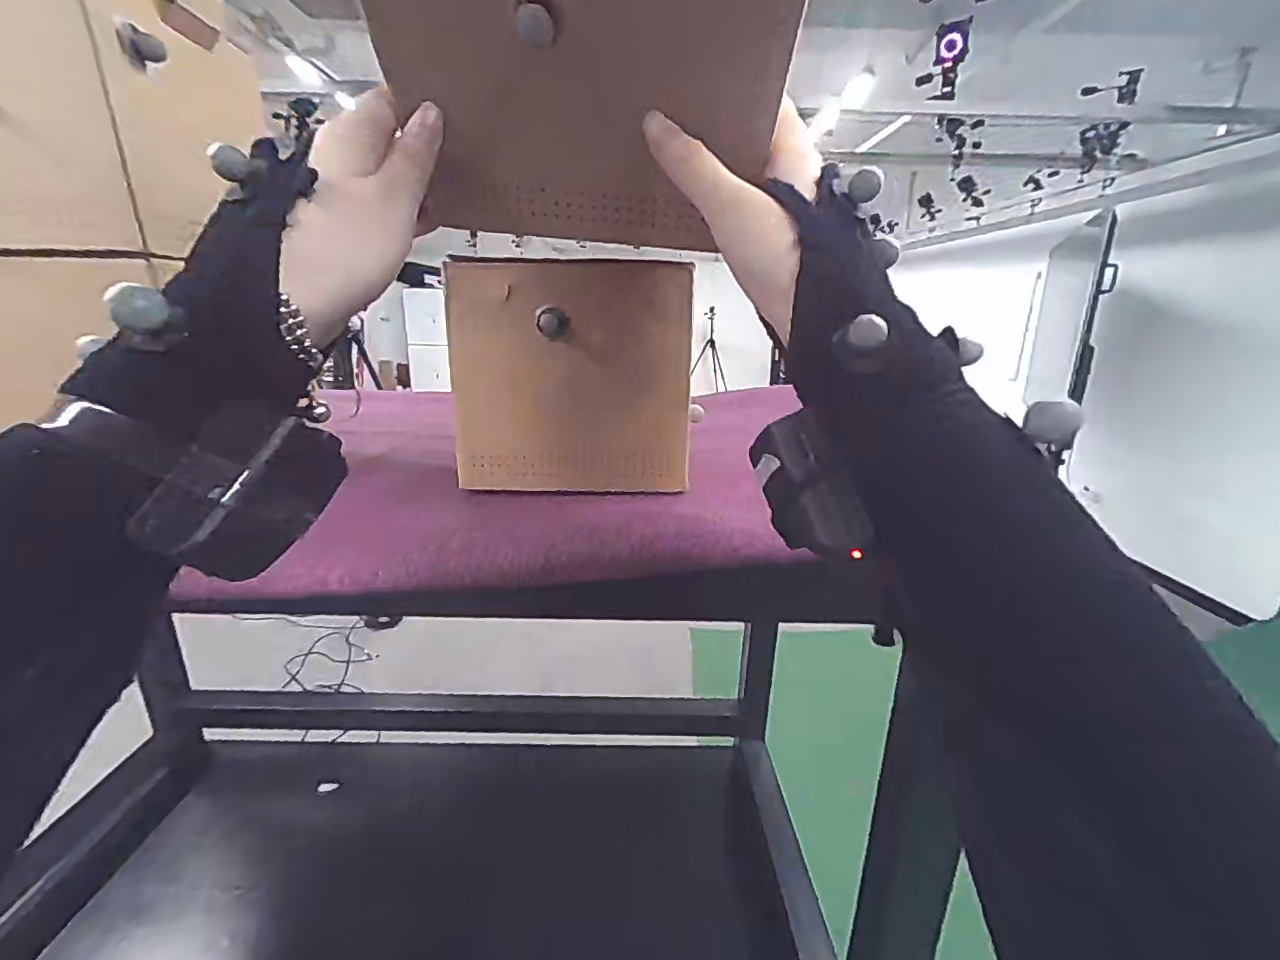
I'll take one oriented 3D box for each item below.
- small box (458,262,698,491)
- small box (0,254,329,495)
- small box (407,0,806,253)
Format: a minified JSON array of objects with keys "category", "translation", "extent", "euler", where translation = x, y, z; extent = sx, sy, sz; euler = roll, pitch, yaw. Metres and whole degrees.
[{"category":"small box","translation":[-0.044,-0.089,0.477],"extent":[0.179,0.176,0.168],"euler":[1,15,0]},{"category":"small box","translation":[-0.392,-0.088,0.451],"extent":[0.179,0.176,0.168],"euler":[0,16,-2]},{"category":"small box","translation":[-0.012,-0.243,0.282],"extent":[0.179,0.176,0.168],"euler":[5,60,1]}]
